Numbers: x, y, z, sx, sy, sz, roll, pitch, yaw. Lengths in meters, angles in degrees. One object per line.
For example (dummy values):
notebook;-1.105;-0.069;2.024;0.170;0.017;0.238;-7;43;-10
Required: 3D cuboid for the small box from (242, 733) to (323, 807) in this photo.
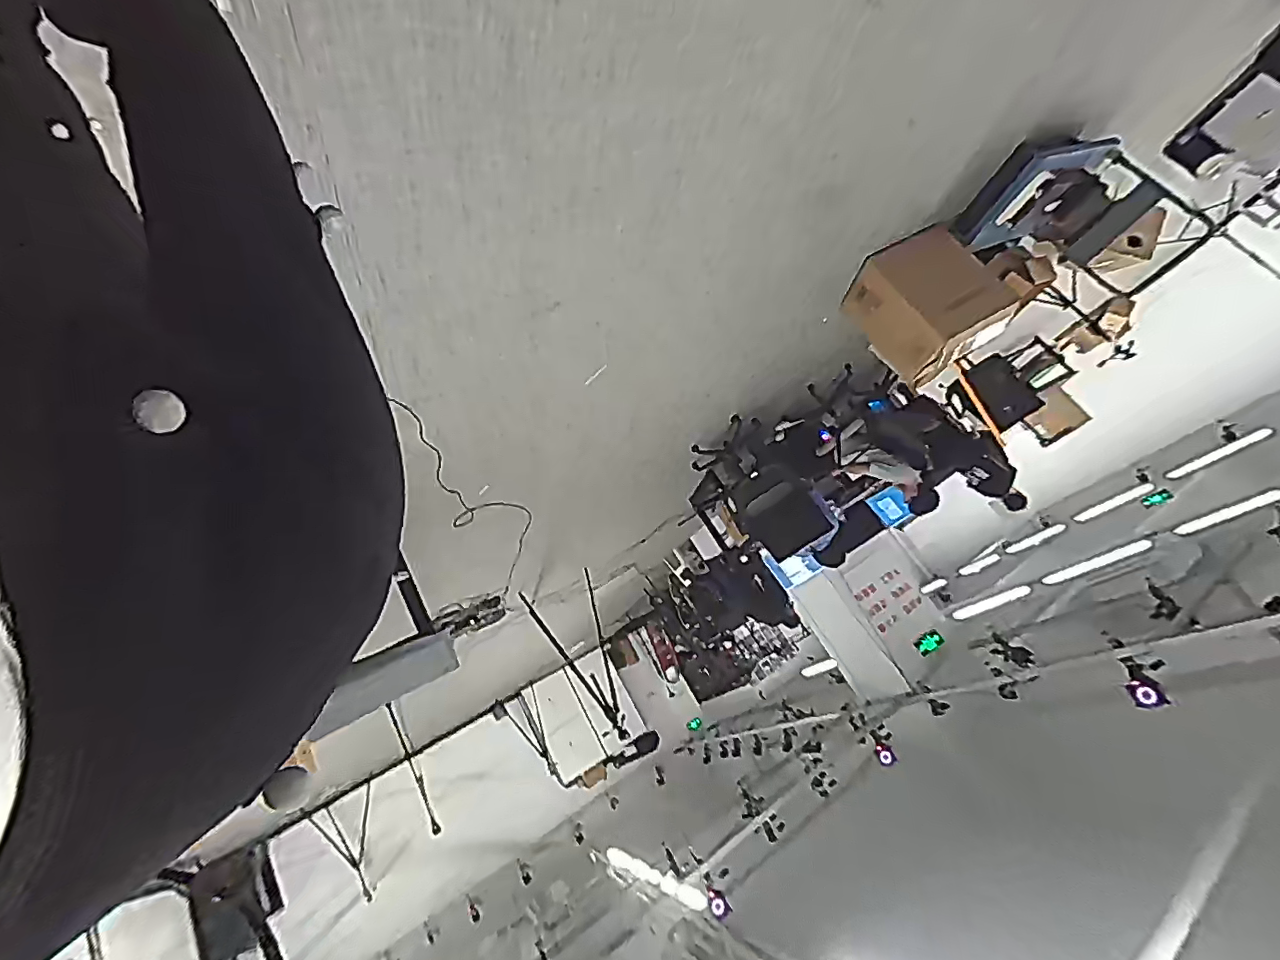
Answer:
small box;-1.264;1.019;1.913;0.168;0.176;0.179;-25;161;-21
